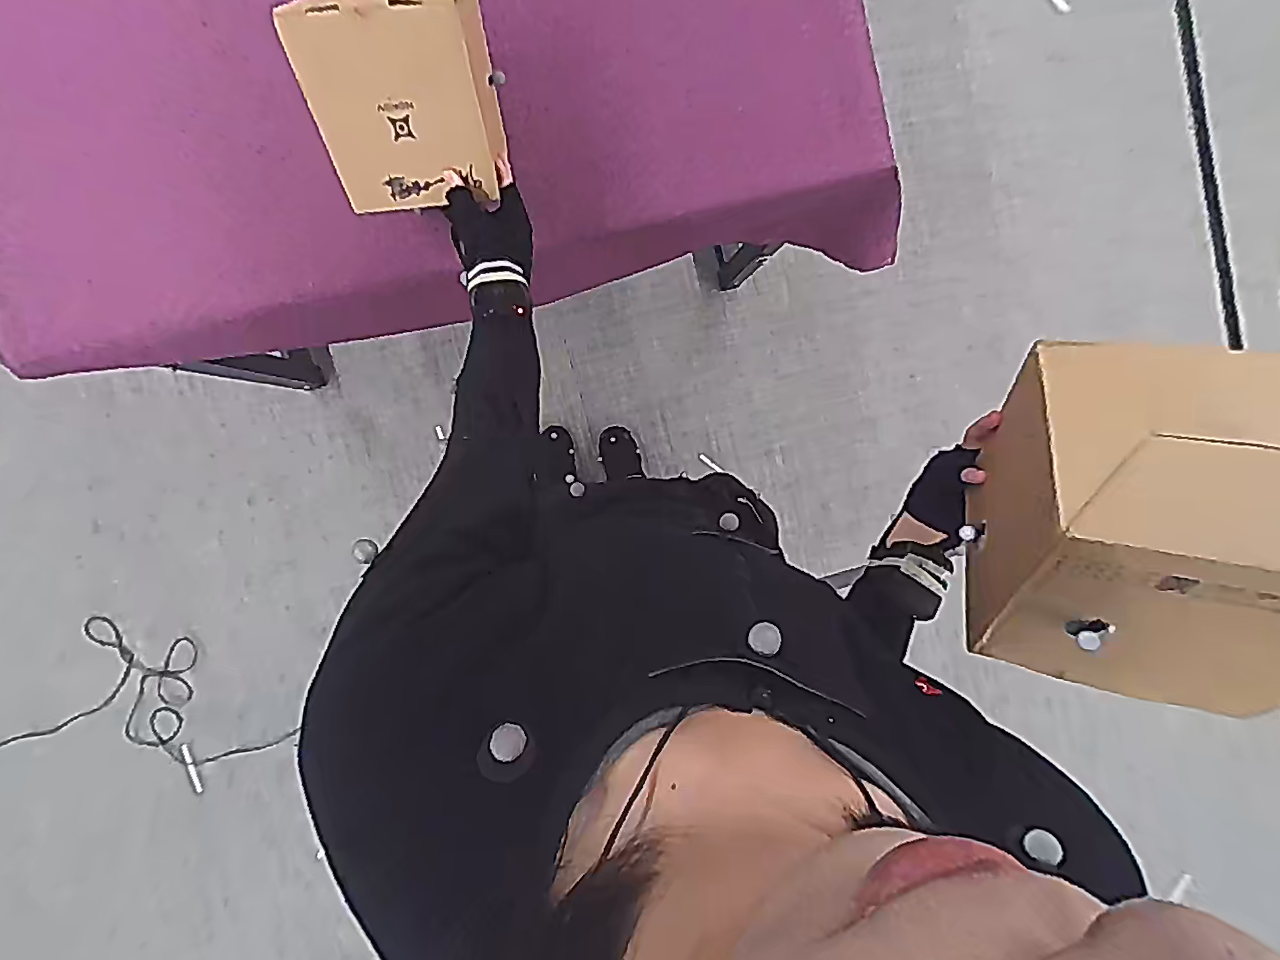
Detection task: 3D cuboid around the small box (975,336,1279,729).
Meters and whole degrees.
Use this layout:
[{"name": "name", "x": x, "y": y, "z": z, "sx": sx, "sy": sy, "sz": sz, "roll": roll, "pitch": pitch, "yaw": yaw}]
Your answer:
[{"name": "small box", "x": 0.339, "y": 0.029, "z": 0.354, "sx": 0.168, "sy": 0.176, "sz": 0.179, "roll": 11, "pitch": 54, "yaw": 19}]

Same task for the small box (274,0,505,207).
[{"name": "small box", "x": -0.249, "y": -0.424, "z": 0.592, "sx": 0.168, "sy": 0.176, "sz": 0.179, "roll": -6, "pitch": 136, "yaw": -3}]
